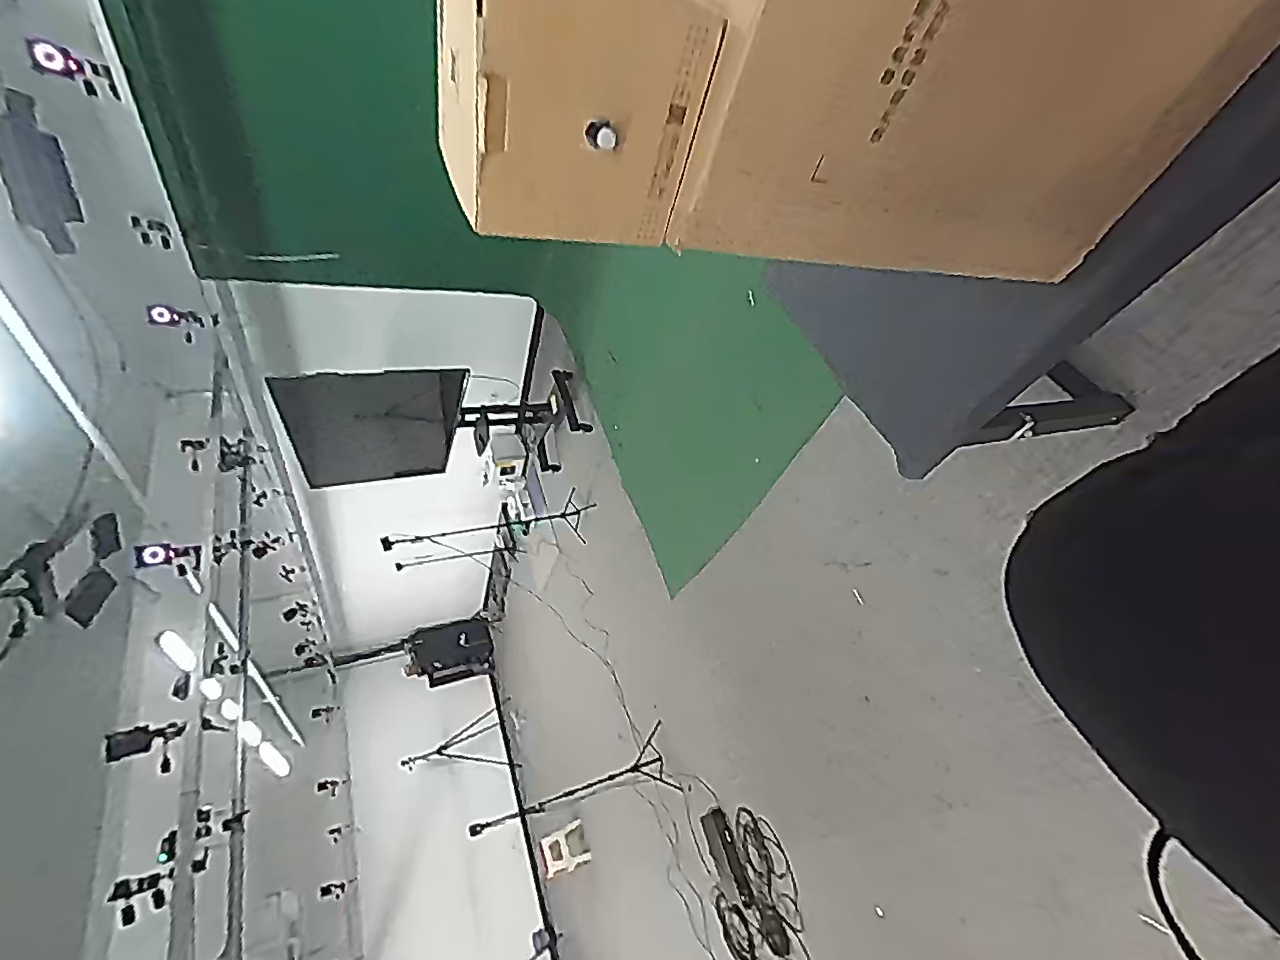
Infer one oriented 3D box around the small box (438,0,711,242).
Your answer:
[{"bbox_3d":[-0.065,-0.318,0.452,0.179,0.176,0.168,63,149,34],"label":"small box"}]
